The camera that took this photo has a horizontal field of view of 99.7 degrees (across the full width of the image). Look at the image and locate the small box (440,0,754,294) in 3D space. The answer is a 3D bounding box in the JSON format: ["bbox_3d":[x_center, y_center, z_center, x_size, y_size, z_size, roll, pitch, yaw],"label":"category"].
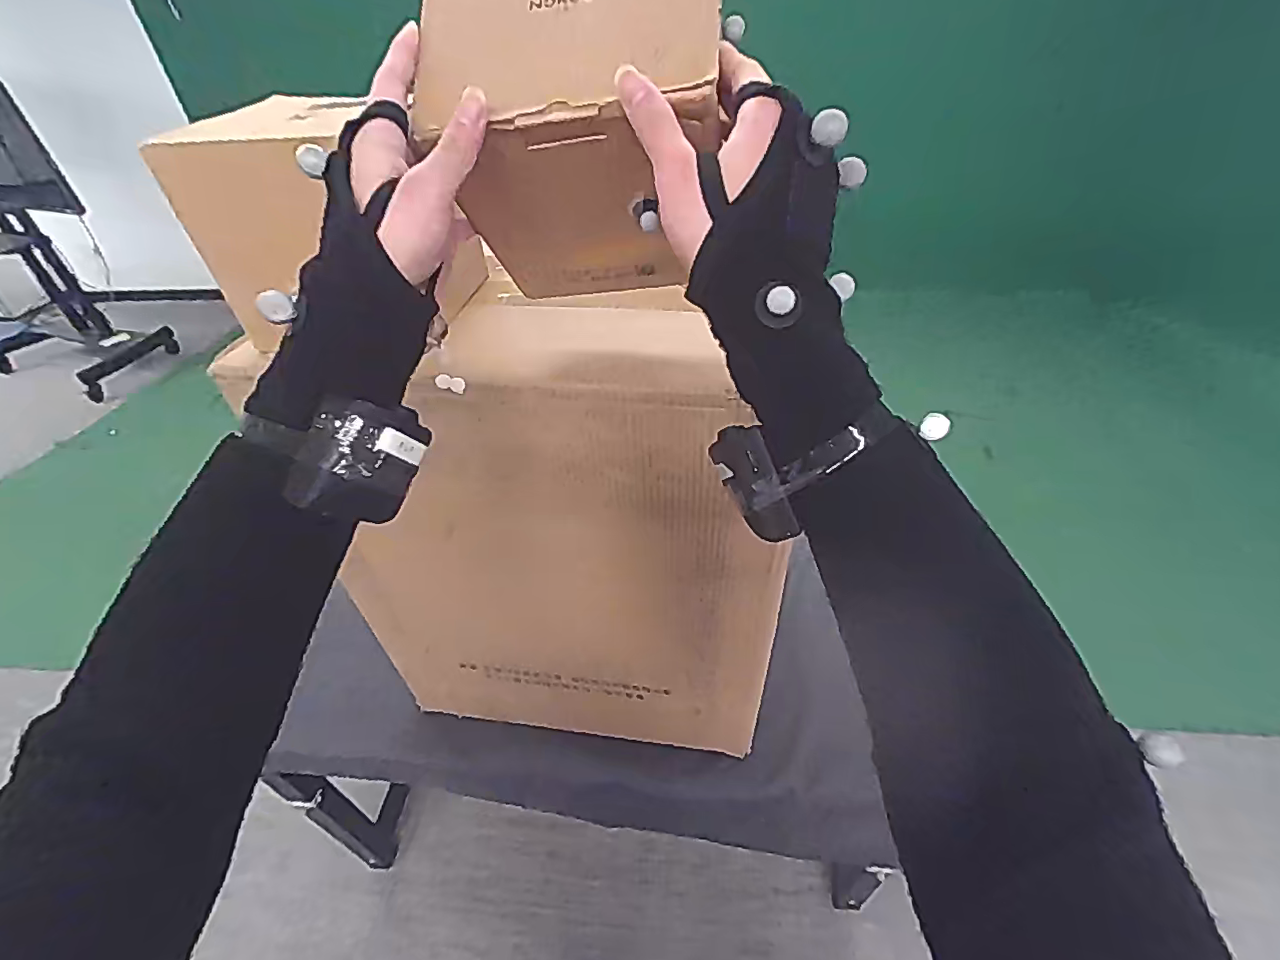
[{"bbox_3d":[-0.010,-0.241,0.363,0.168,0.176,0.179,-1,77,9],"label":"small box"}]

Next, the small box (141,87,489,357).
[{"bbox_3d":[-0.247,-0.228,0.472,0.168,0.176,0.179,4,44,9],"label":"small box"}]
